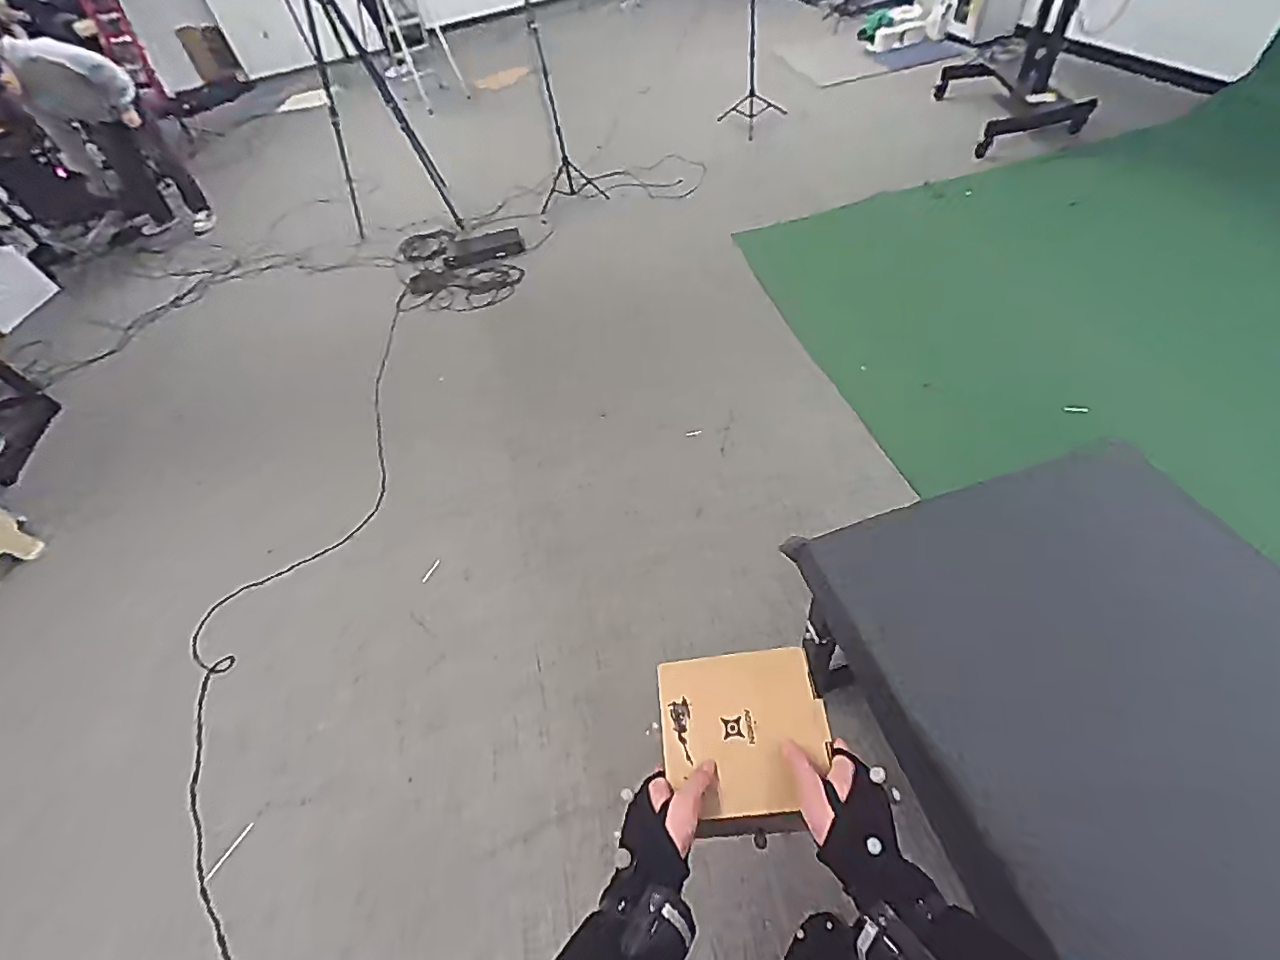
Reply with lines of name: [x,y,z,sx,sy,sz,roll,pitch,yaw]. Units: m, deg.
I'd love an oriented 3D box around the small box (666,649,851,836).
small box: [0.130,0.316,0.643,0.179,0.176,0.168,-8,51,6]
